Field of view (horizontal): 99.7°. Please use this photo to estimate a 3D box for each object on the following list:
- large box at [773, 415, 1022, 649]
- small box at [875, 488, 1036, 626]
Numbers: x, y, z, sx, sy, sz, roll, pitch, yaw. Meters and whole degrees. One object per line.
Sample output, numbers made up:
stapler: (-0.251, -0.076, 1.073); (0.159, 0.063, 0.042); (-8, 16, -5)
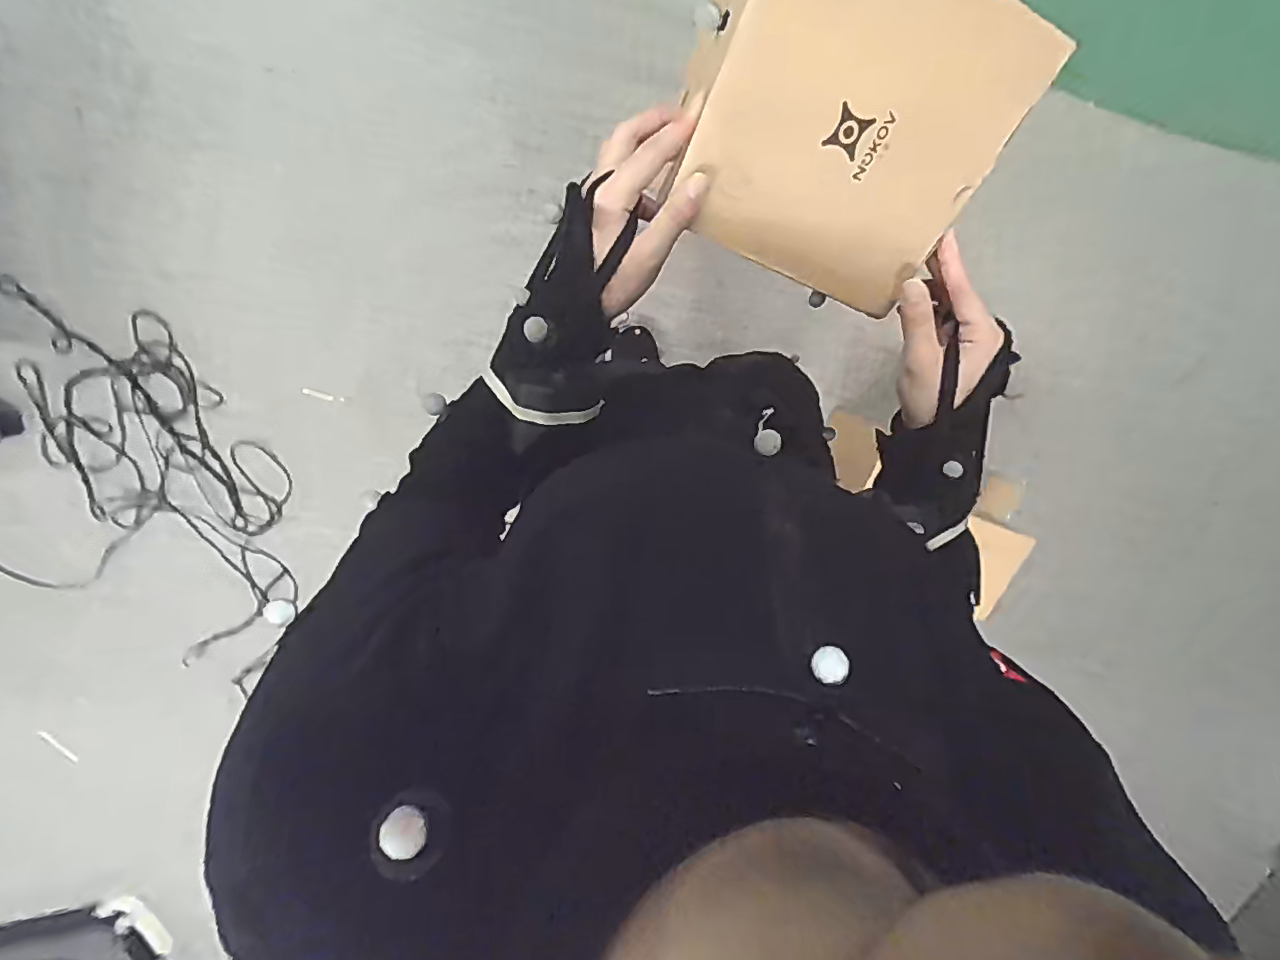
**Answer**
large box: (0.558, 0.104, 1.258); (0.320, 0.320, 0.408); (19, 107, -6)
small box: (0.573, 0.138, 1.015); (0.168, 0.176, 0.179); (19, 104, -9)
